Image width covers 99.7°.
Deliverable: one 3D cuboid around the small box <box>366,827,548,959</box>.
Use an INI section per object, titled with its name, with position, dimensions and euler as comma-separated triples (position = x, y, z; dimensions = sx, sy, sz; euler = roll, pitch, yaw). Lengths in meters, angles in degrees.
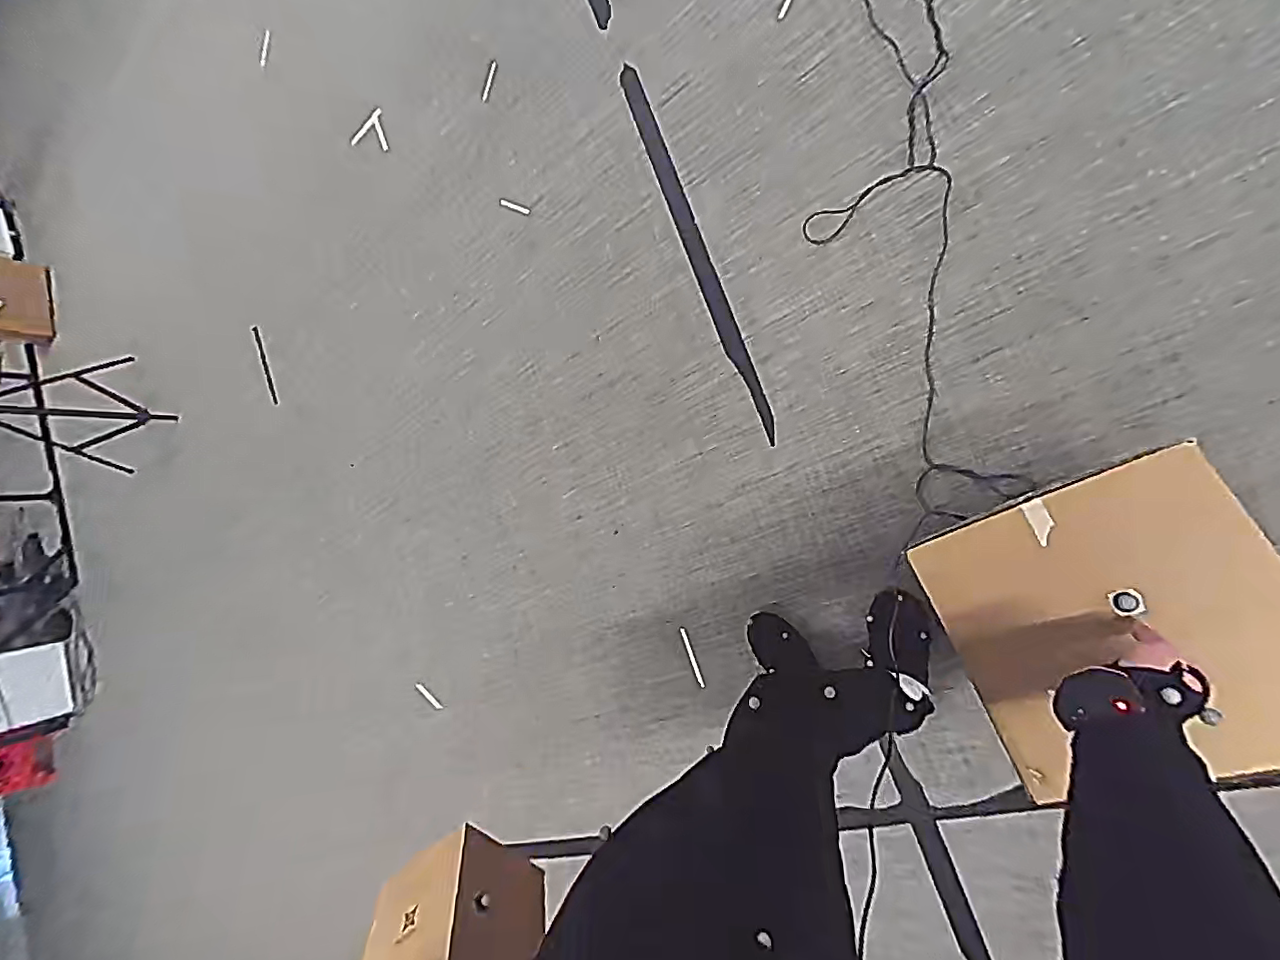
[small box]
position = -0.236, 0.616, 0.713
dimensions = 0.168, 0.179, 0.176
euler = -37, 113, 7
